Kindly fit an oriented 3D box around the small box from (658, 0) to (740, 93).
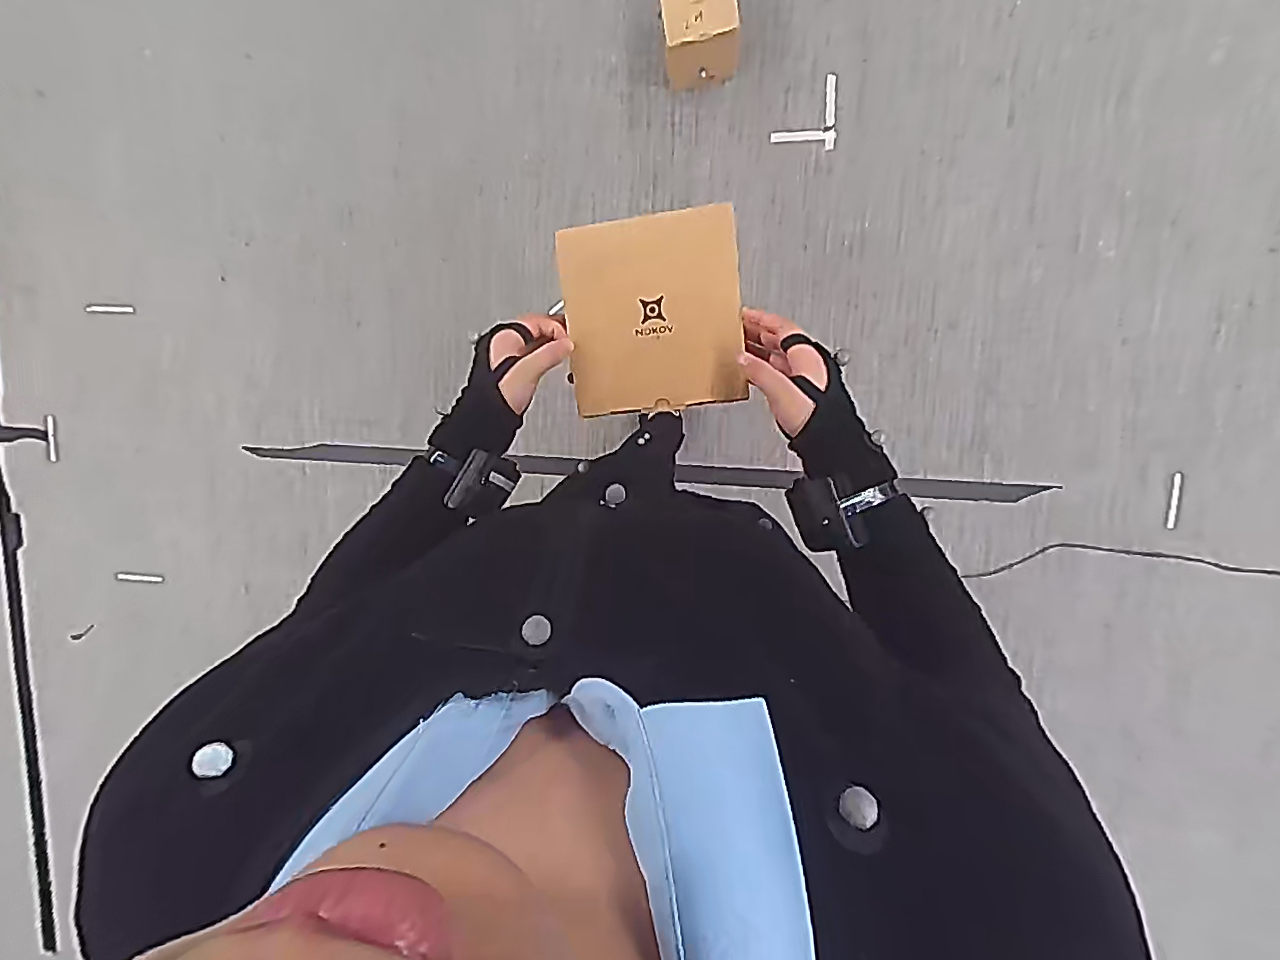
[{"bbox_3d":[0.134,-1.062,1.267,0.168,0.176,0.179,-9,95,7],"label":"small box"}]
